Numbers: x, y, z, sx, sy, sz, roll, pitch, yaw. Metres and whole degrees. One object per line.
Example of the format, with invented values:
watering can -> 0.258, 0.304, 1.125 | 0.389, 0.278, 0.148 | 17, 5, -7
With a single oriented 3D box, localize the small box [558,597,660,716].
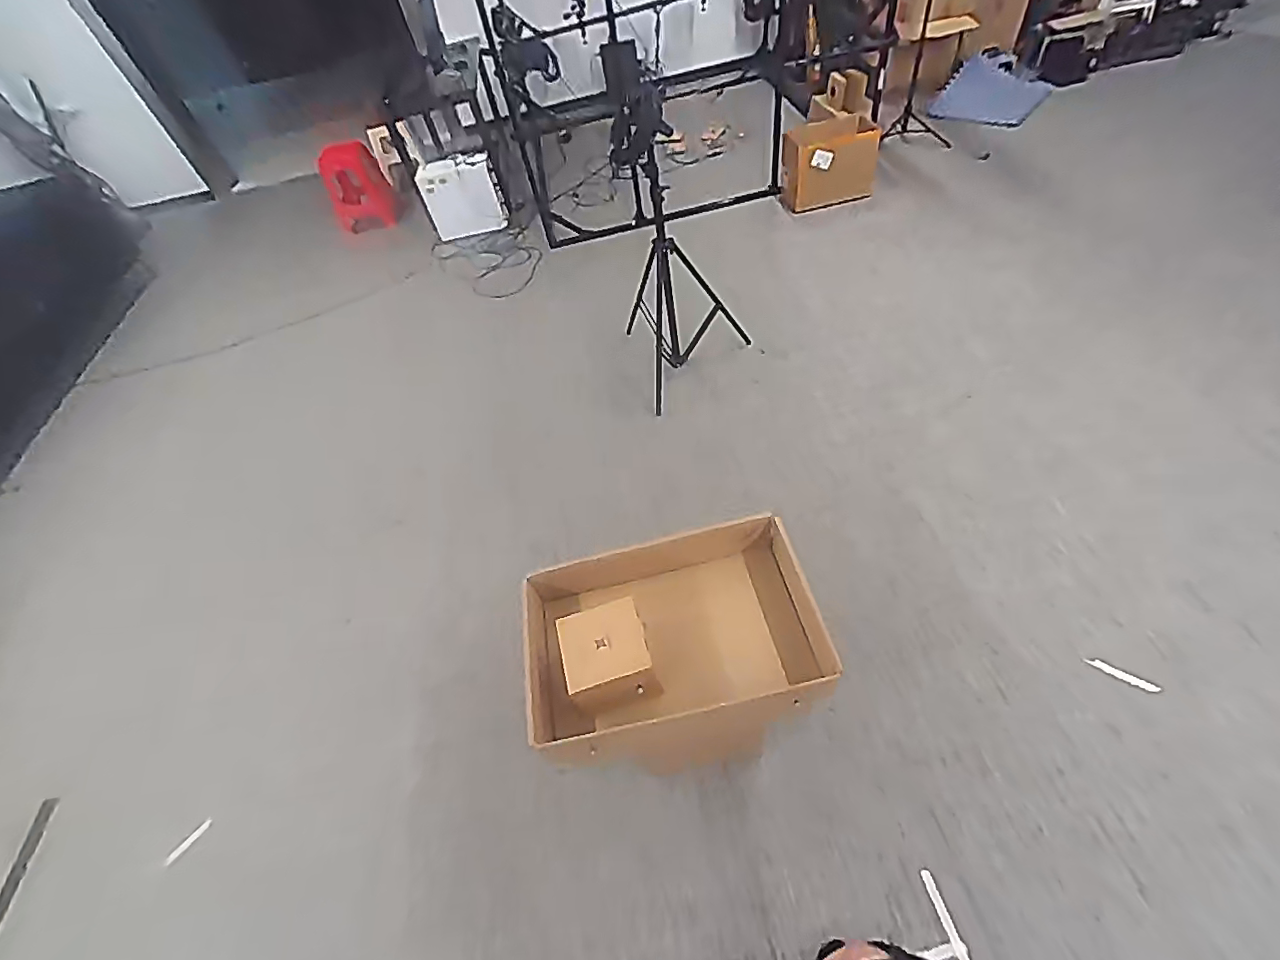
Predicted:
small box -> -0.061, 0.381, 1.160 | 0.179, 0.176, 0.168 | -18, 50, -1
